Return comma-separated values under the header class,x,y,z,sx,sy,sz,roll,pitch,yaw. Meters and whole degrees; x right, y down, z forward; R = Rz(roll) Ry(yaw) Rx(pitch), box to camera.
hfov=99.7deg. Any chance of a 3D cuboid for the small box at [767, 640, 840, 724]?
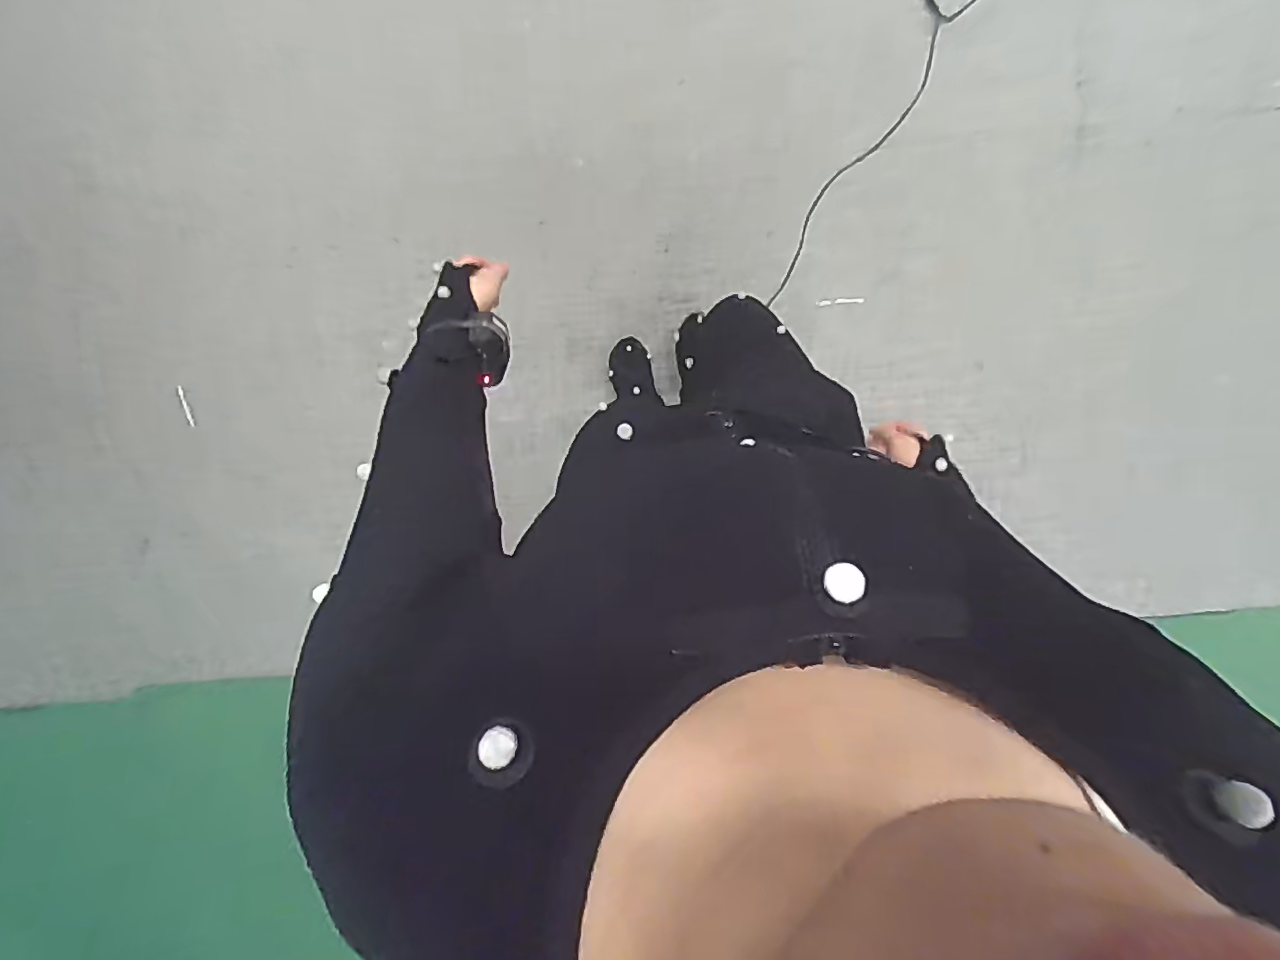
class,x,y,z,sx,sy,sz,roll,pitch,yaw
small box,0.464,0.575,1.558,0.168,0.176,0.179,-3,107,3
